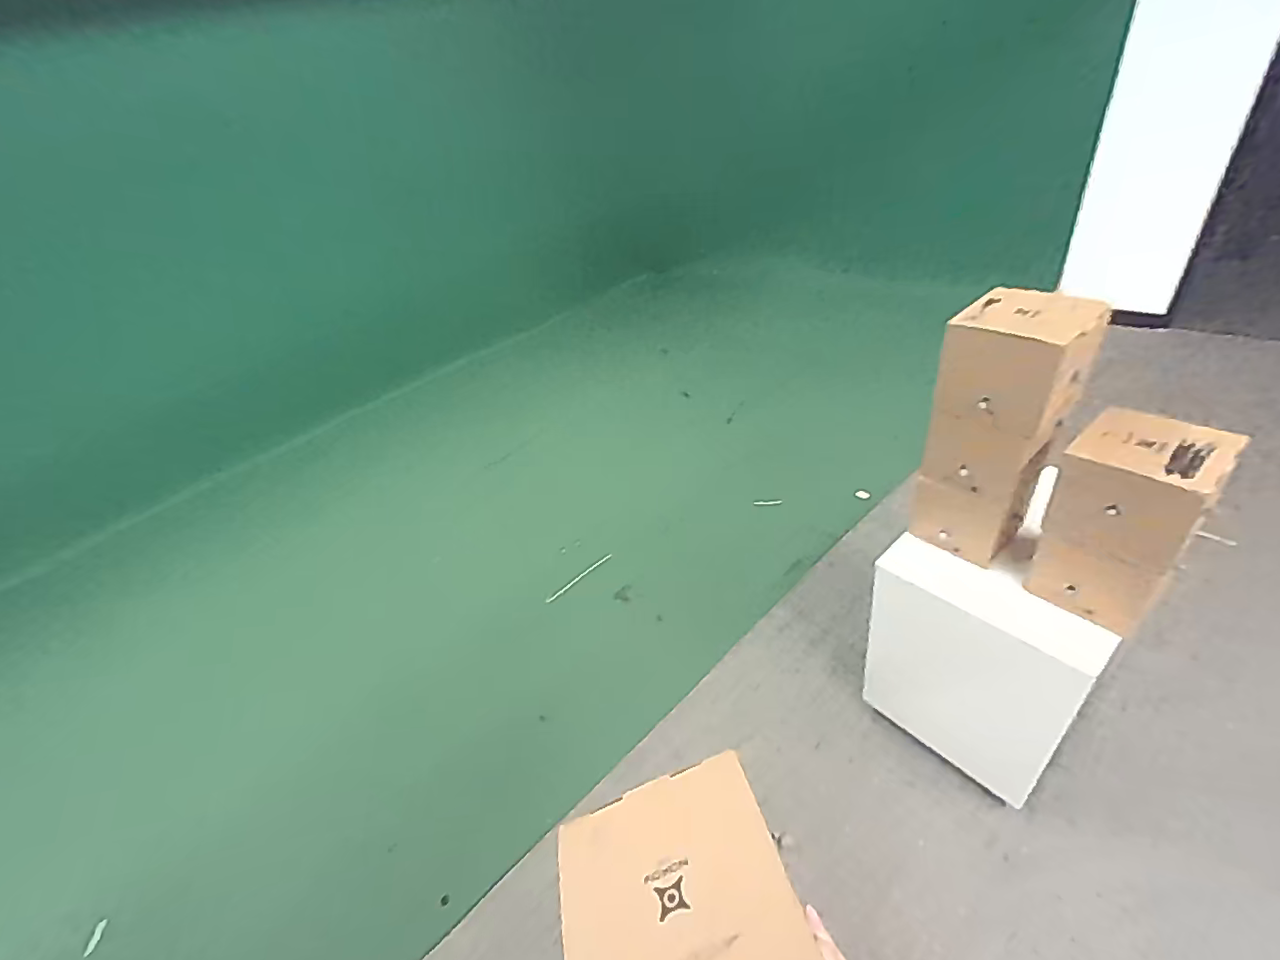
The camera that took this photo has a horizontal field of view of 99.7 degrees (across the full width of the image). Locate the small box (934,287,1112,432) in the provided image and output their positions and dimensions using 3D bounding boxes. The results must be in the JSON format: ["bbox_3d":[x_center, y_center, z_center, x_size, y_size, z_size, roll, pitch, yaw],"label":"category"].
[{"bbox_3d":[0.634,-0.202,0.916,0.168,0.176,0.179,-33,43,-23],"label":"small box"}]

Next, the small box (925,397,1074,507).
[{"bbox_3d":[0.668,-0.082,1.025,0.179,0.176,0.168,-33,42,-23],"label":"small box"}]

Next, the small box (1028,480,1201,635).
[{"bbox_3d":[0.833,0.136,0.966,0.179,0.176,0.168,-33,40,-23],"label":"small box"}]

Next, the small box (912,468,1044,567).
[{"bbox_3d":[0.692,0.044,1.127,0.179,0.176,0.168,-35,43,-24],"label":"small box"}]
